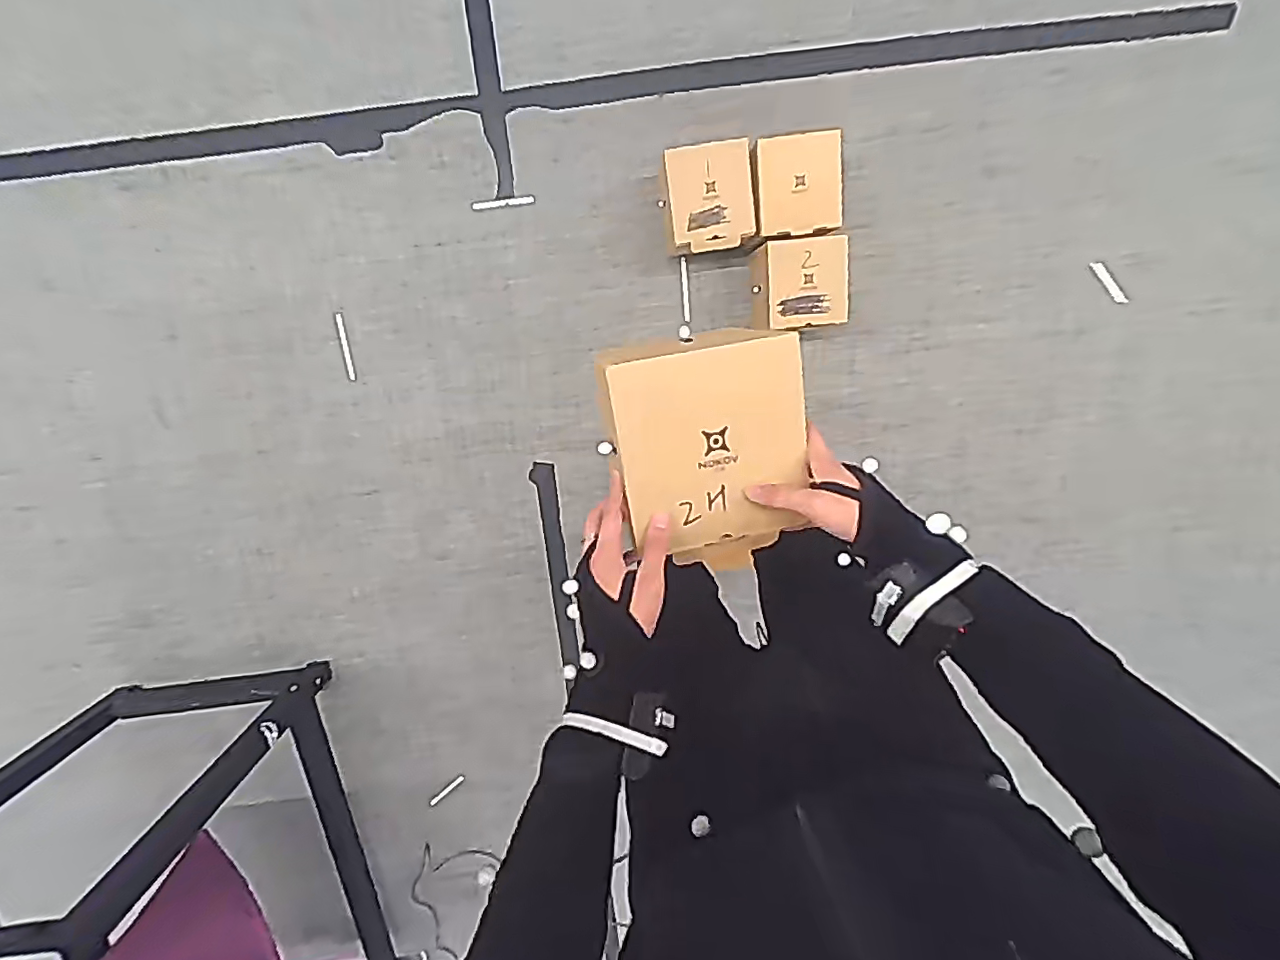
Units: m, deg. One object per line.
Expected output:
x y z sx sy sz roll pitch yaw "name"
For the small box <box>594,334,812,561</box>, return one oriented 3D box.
0.053 -0.045 0.539 0.168 0.176 0.179 -11 108 -6 "small box"
